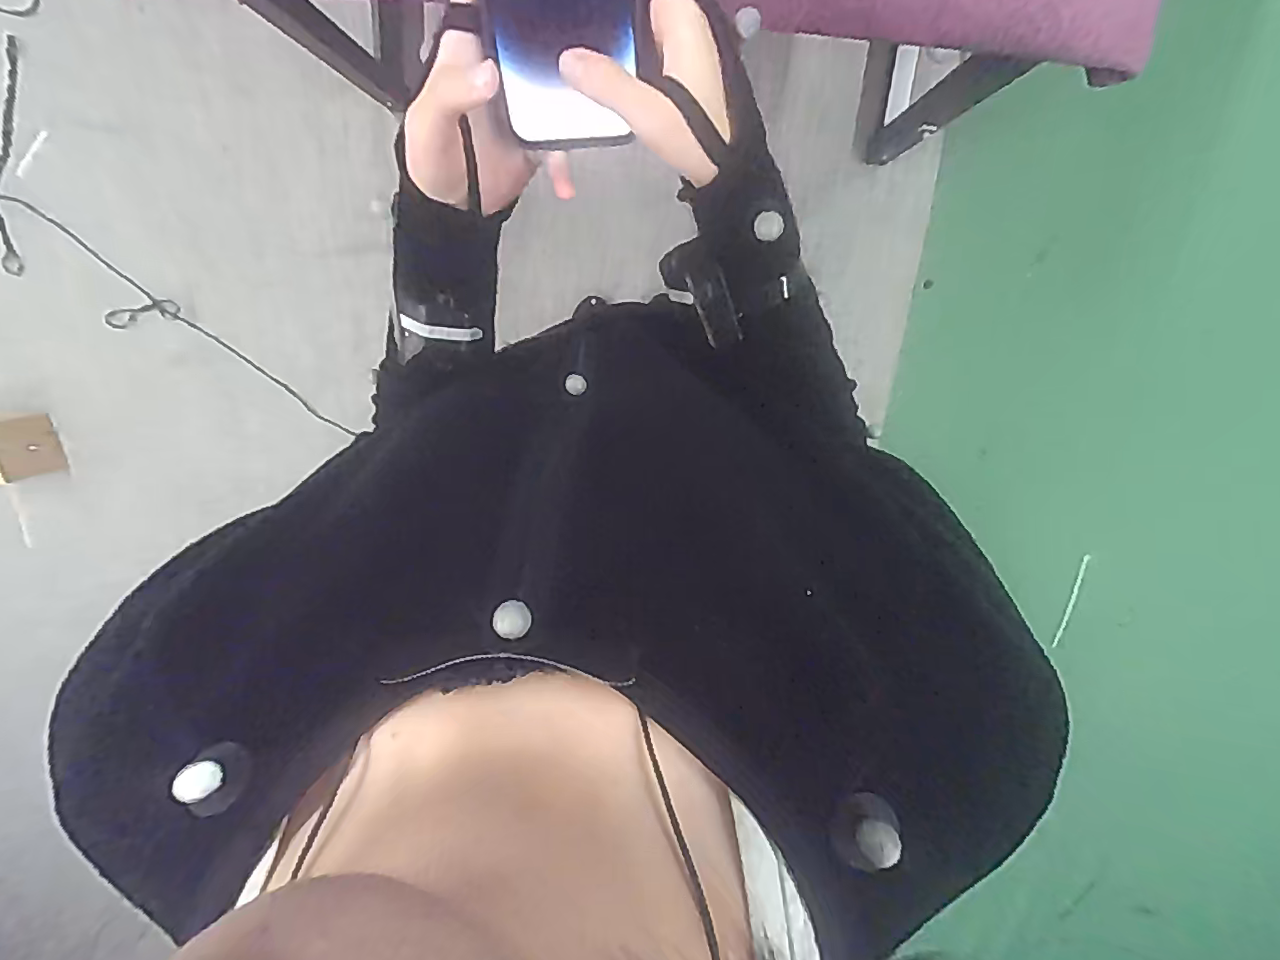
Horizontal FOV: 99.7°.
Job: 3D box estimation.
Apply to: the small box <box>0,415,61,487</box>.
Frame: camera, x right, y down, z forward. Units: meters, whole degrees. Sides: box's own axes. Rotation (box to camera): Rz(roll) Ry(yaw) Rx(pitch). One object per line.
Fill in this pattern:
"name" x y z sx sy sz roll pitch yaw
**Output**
"small box" -1.754 -0.082 1.475 0.179 0.176 0.168 -2 107 3
